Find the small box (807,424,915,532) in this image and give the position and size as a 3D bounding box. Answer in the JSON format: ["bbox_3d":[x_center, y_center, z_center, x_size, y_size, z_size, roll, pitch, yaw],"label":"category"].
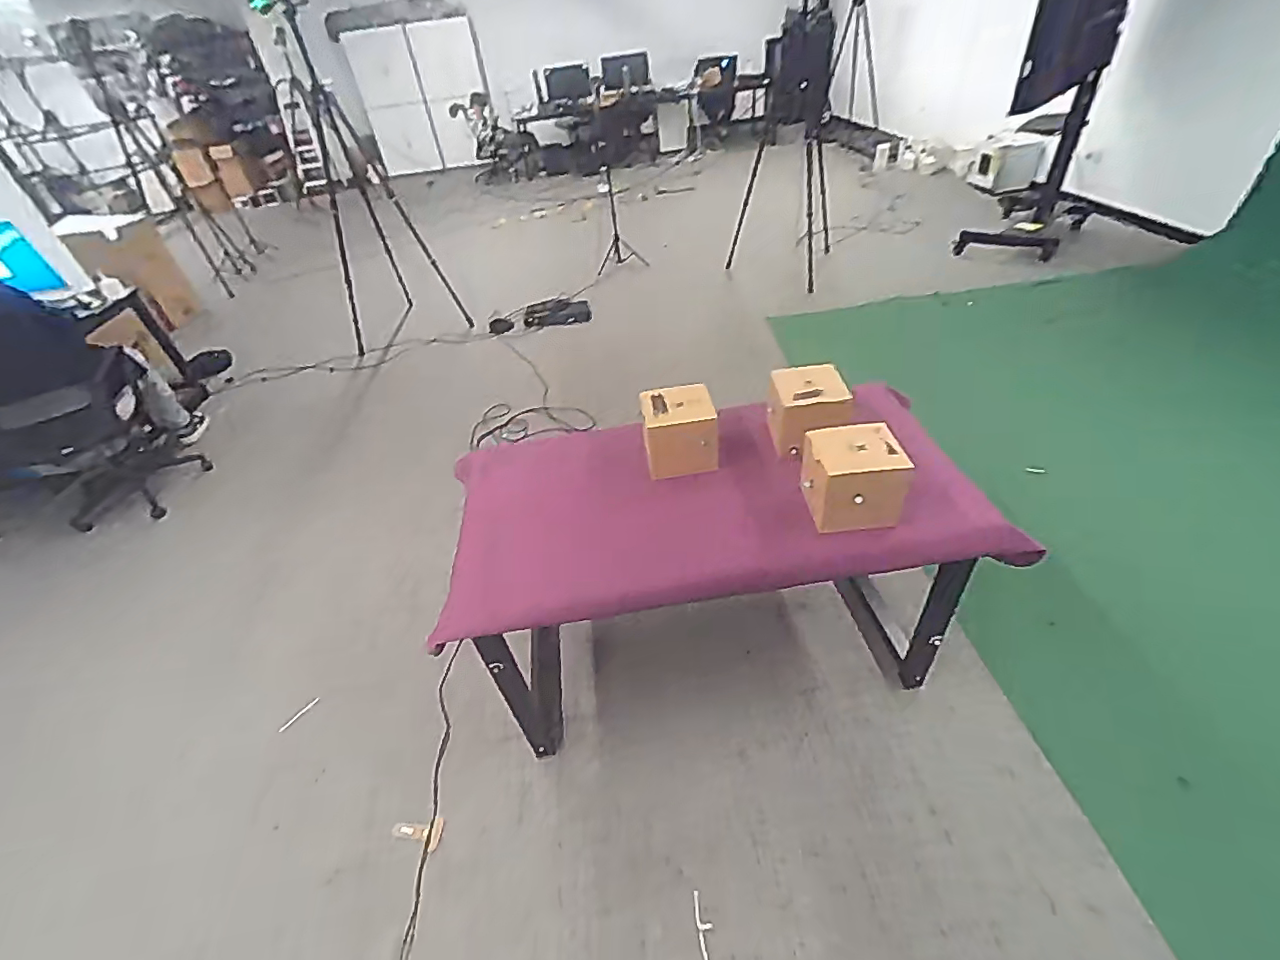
[{"bbox_3d":[0.474,-0.001,1.190,0.179,0.176,0.168,-6,40,4],"label":"small box"}]

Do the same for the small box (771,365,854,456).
[{"bbox_3d":[0.438,-0.173,1.398,0.168,0.176,0.179,-5,40,4],"label":"small box"}]
